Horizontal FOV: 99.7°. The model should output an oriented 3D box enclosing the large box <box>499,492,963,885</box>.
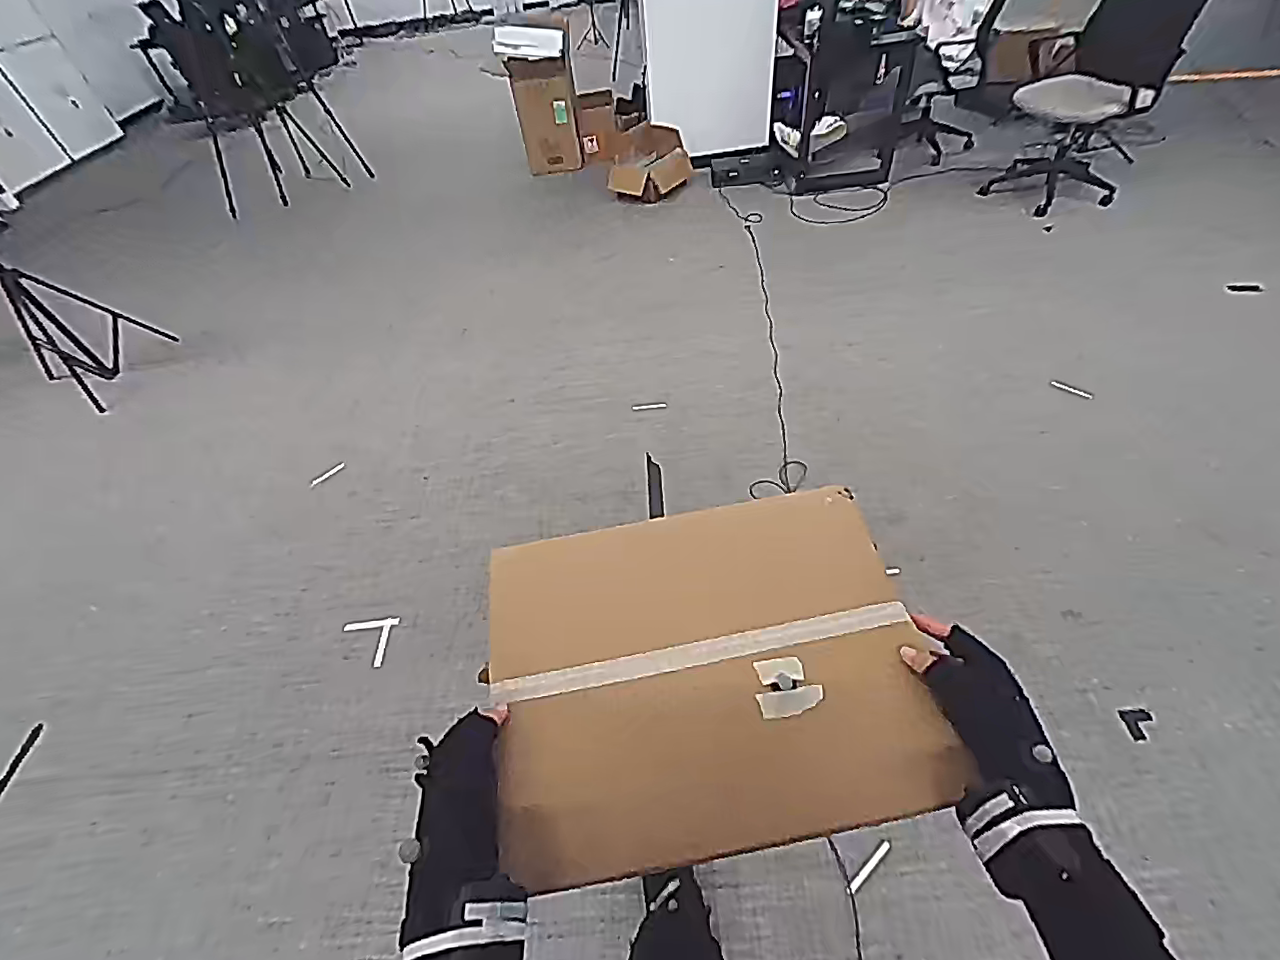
[{"bbox_3d":[0.070,0.260,0.662,0.408,0.320,0.320,-11,55,-3],"label":"large box"}]
